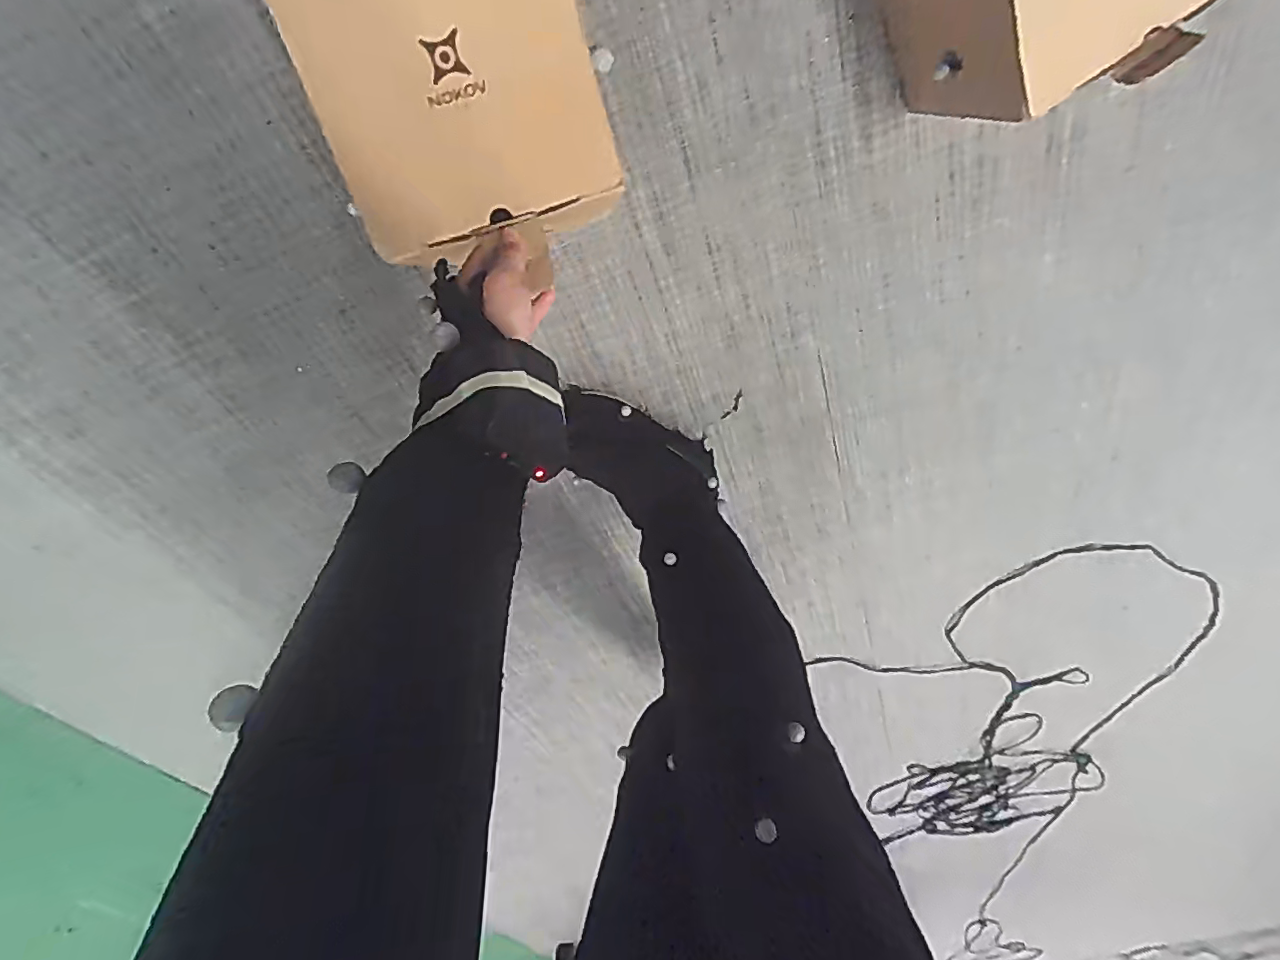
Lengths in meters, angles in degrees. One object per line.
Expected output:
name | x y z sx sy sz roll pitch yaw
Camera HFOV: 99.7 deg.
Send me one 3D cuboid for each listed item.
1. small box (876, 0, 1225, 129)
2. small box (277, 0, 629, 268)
small box | 0.283 -0.389 0.381 0.168 0.176 0.179 -32 122 14
small box | -0.117 -0.265 0.393 0.168 0.176 0.179 -18 112 -1
